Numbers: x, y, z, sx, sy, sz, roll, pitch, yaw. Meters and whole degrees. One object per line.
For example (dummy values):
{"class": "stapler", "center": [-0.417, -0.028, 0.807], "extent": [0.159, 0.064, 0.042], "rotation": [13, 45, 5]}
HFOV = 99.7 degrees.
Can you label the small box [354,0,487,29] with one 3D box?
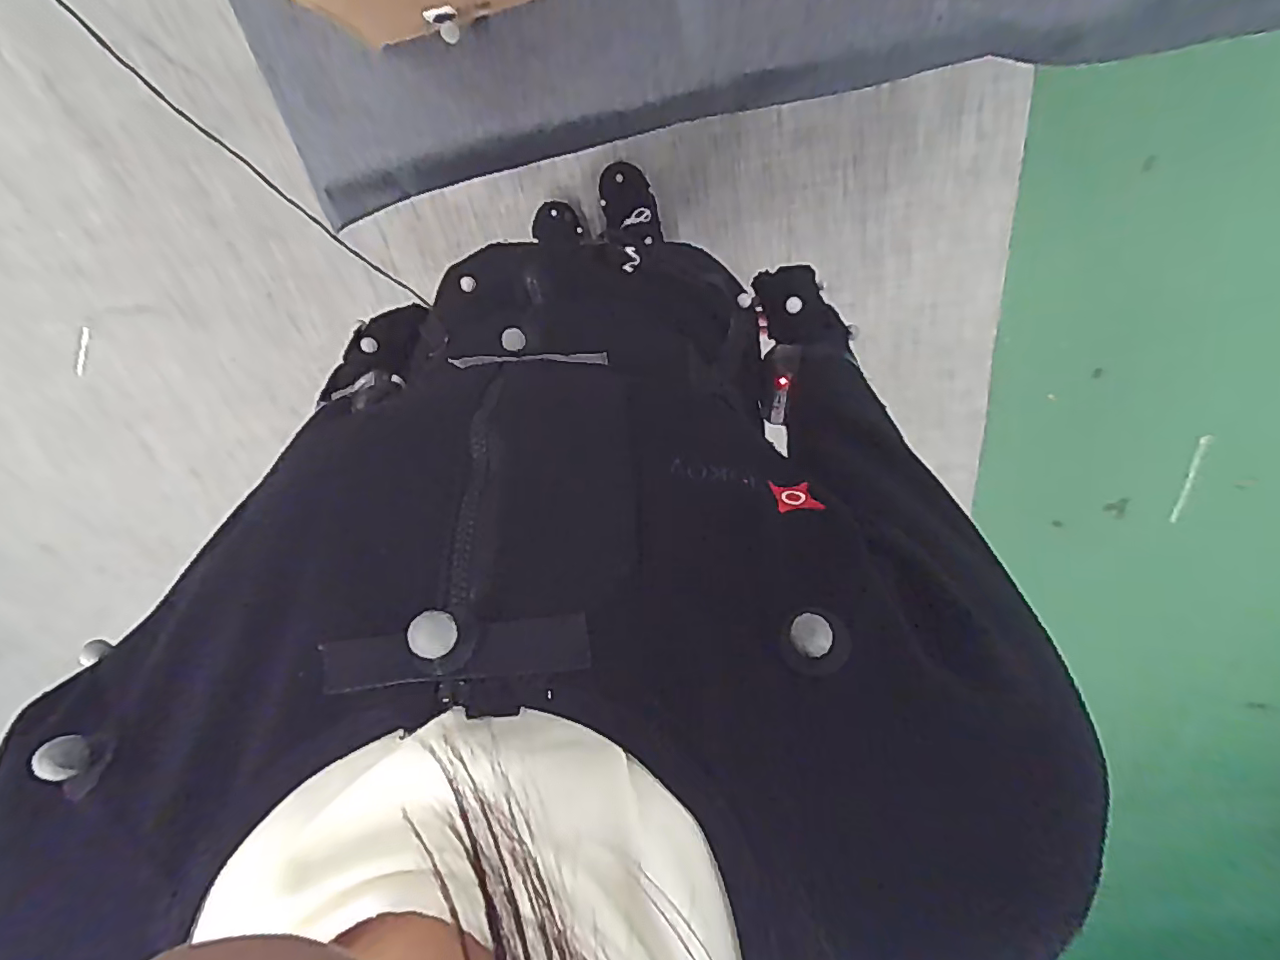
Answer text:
{"class": "small box", "center": [-0.165, -0.446, 0.359], "extent": [0.168, 0.176, 0.179], "rotation": [-14, 120, 5]}
